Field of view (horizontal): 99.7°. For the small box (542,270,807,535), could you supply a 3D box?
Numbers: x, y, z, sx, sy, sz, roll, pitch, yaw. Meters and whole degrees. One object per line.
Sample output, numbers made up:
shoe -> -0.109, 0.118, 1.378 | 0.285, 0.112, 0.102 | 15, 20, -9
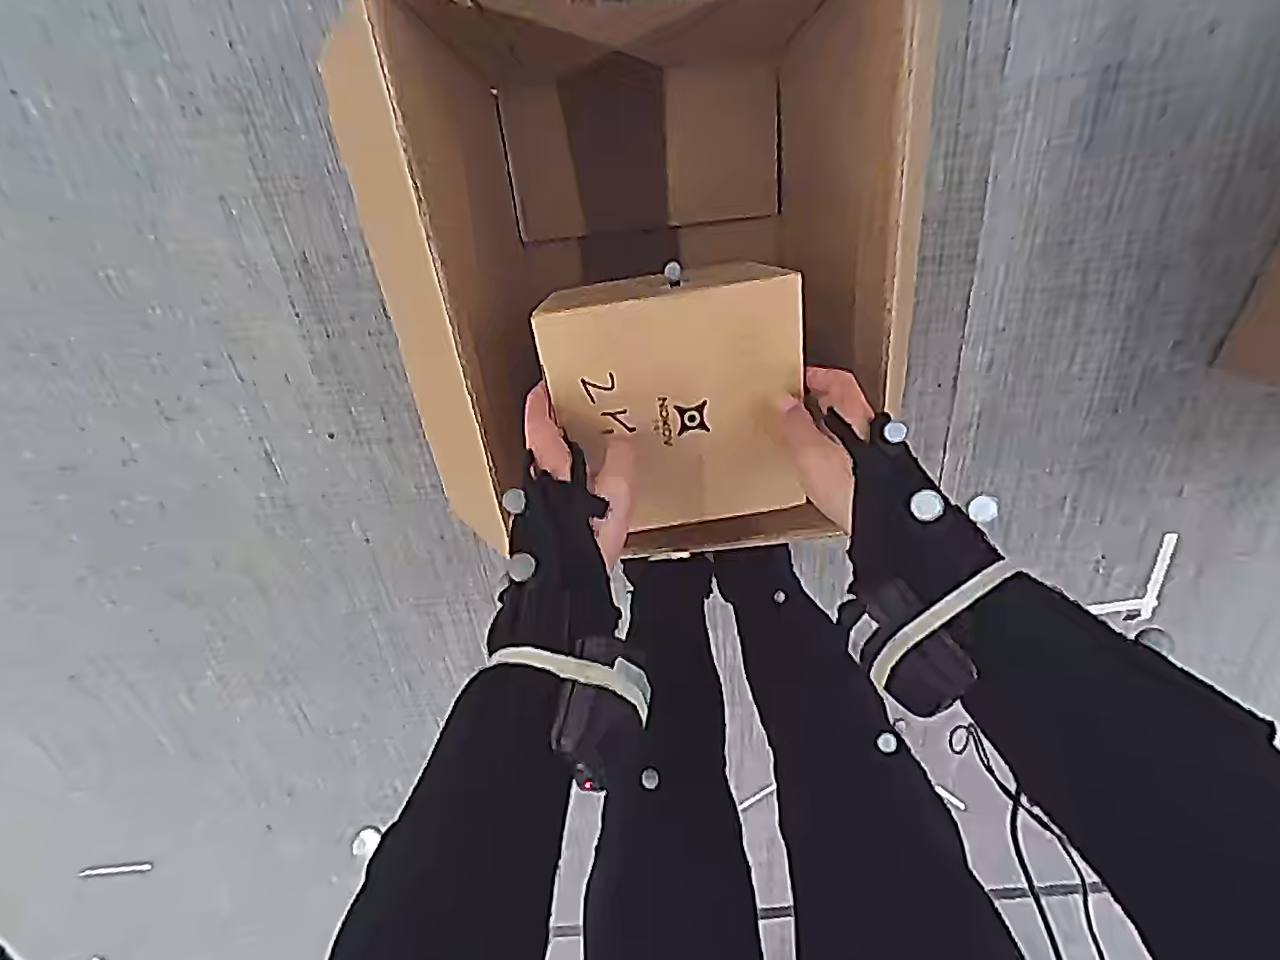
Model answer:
small box -> 0.026, -0.076, 0.452 | 0.179, 0.176, 0.168 | -8, 114, 0
